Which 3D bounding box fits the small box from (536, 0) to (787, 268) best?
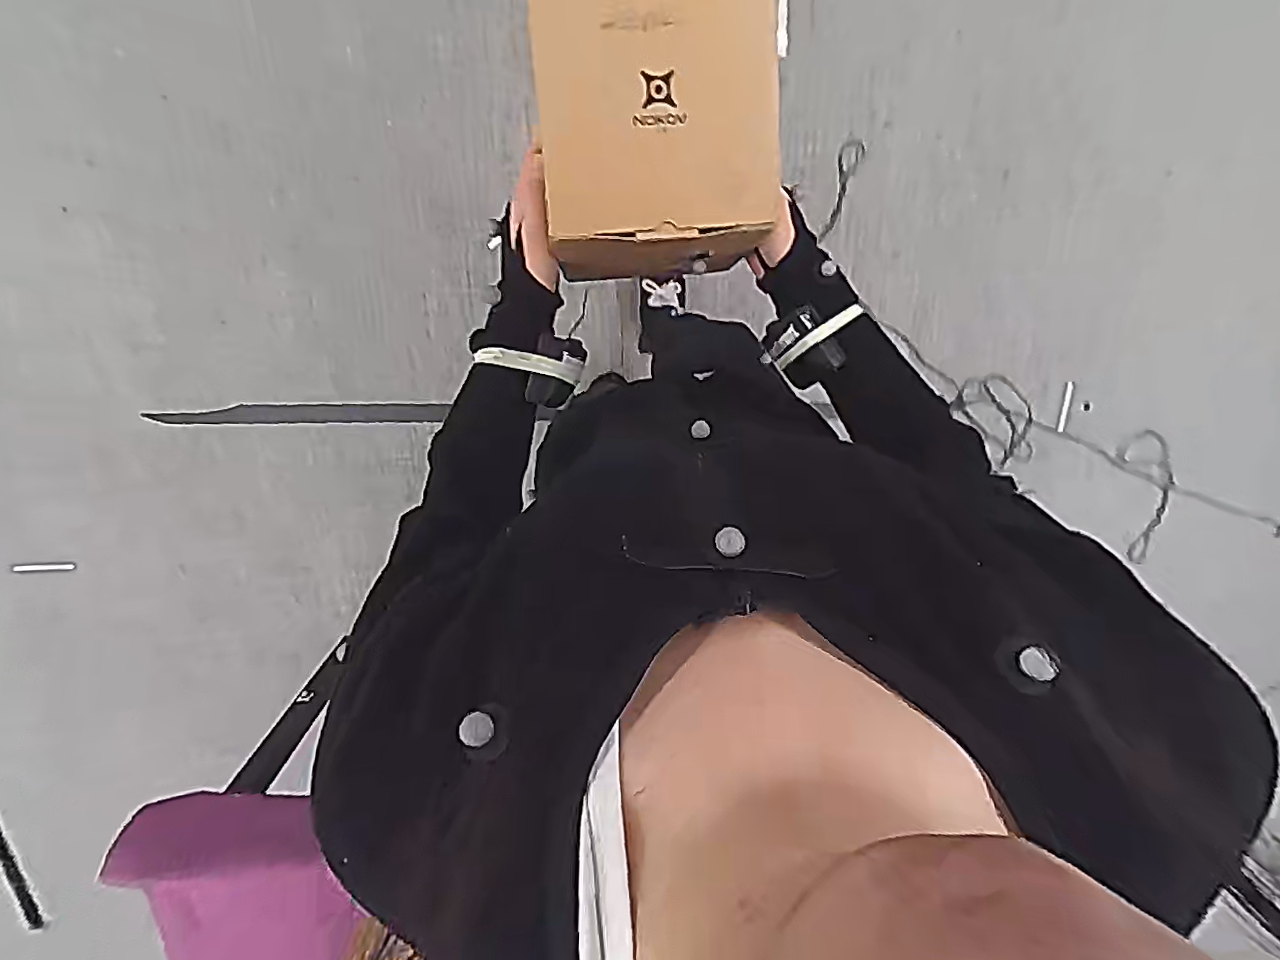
[{"bbox_3d":[0.012,-0.278,0.440,0.168,0.176,0.179,-5,100,-4],"label":"small box"}]
